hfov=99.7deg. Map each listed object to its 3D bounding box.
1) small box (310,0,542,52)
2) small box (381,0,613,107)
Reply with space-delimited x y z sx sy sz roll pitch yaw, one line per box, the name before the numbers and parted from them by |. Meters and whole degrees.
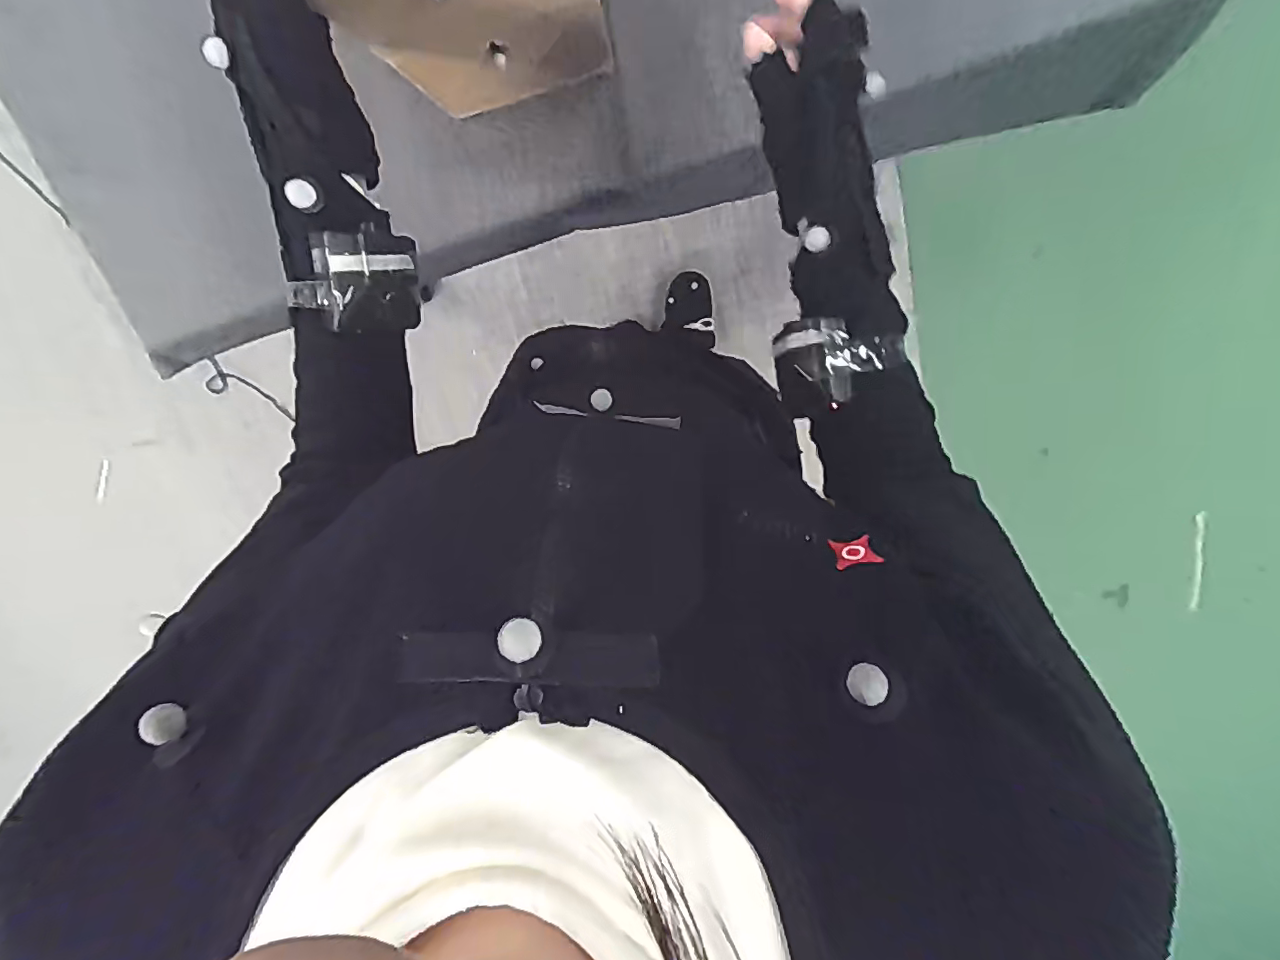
small box | -0.139 -0.388 0.304 0.179 0.176 0.168 -12 110 9
small box | -0.132 -0.450 0.456 0.179 0.176 0.168 -14 110 7
